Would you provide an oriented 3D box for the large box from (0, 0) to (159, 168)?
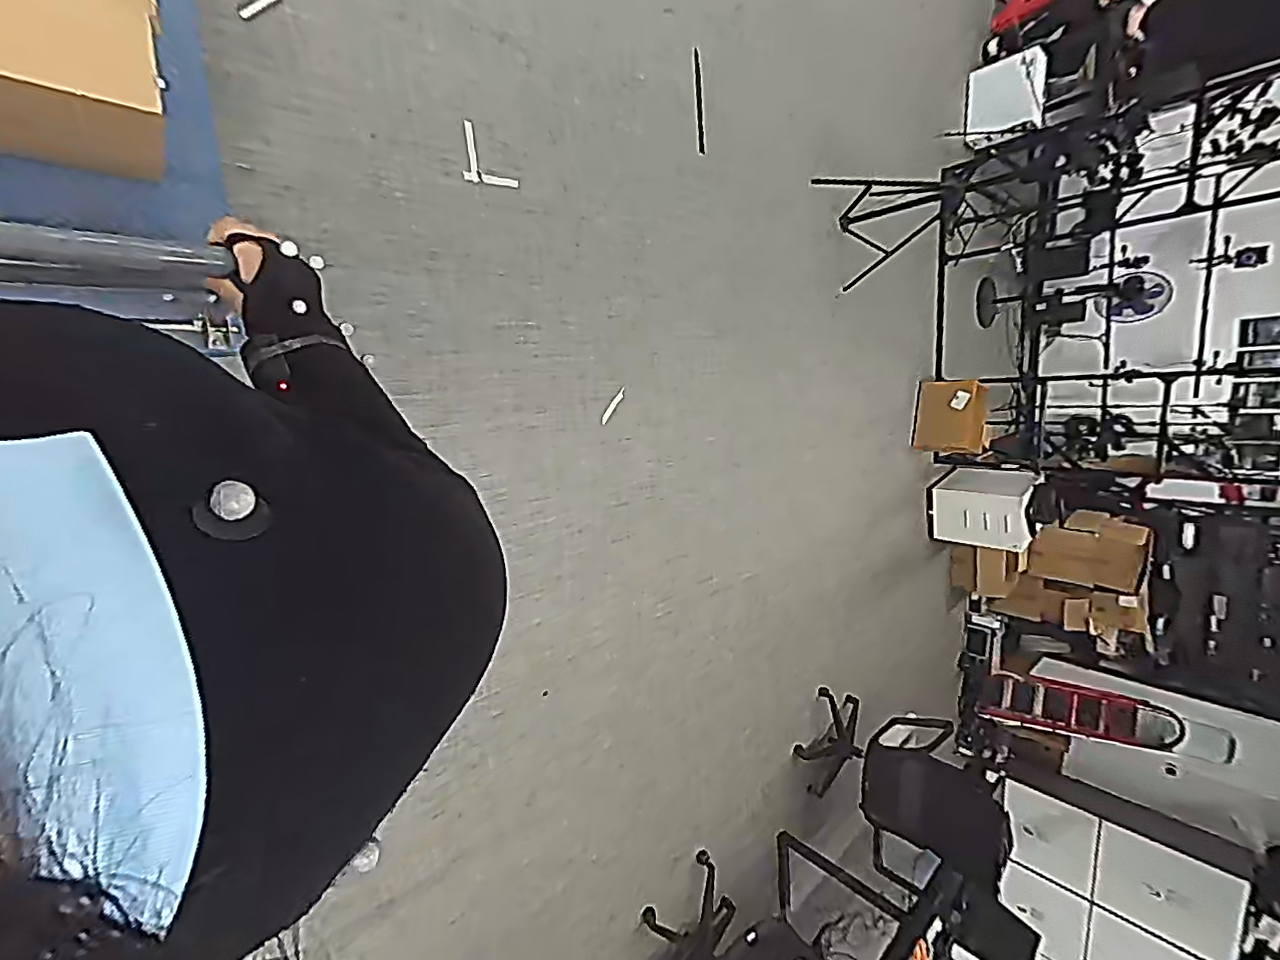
[{"bbox_3d":[-0.931,-0.668,0.718,0.408,0.320,0.320,-9,101,-41],"label":"large box"}]
